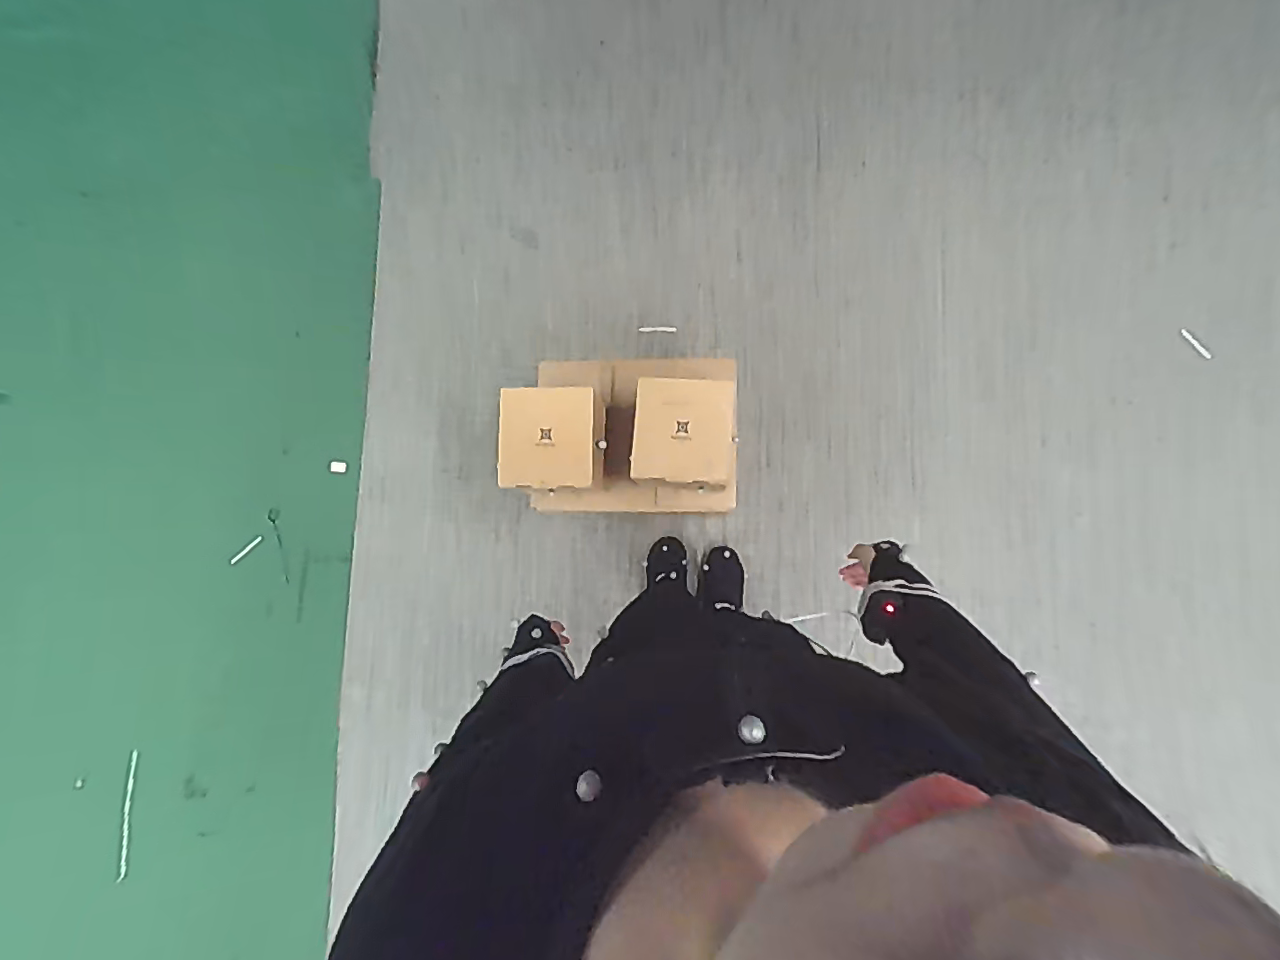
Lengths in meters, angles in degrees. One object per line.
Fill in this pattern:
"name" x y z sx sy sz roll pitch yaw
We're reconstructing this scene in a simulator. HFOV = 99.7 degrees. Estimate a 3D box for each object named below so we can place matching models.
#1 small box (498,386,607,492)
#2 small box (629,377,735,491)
"small box" -0.155 -0.070 1.005 0.168 0.176 0.179 0 87 5
"small box" 0.080 -0.076 0.979 0.168 0.176 0.179 4 85 7
